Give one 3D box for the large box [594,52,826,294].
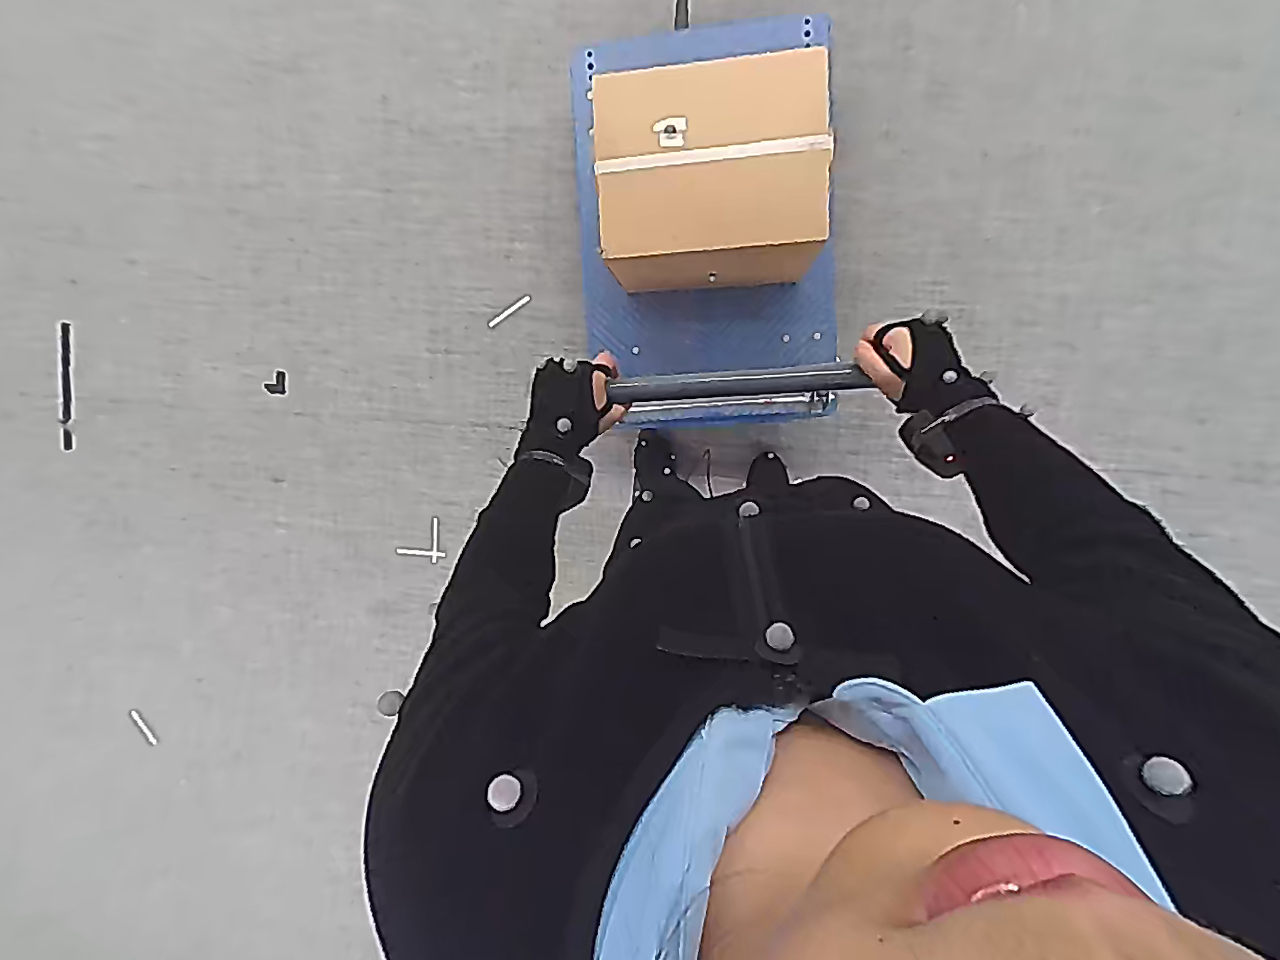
[{"bbox_3d":[0.145,-0.587,1.112,0.408,0.320,0.320,-3,96,9],"label":"large box"}]
